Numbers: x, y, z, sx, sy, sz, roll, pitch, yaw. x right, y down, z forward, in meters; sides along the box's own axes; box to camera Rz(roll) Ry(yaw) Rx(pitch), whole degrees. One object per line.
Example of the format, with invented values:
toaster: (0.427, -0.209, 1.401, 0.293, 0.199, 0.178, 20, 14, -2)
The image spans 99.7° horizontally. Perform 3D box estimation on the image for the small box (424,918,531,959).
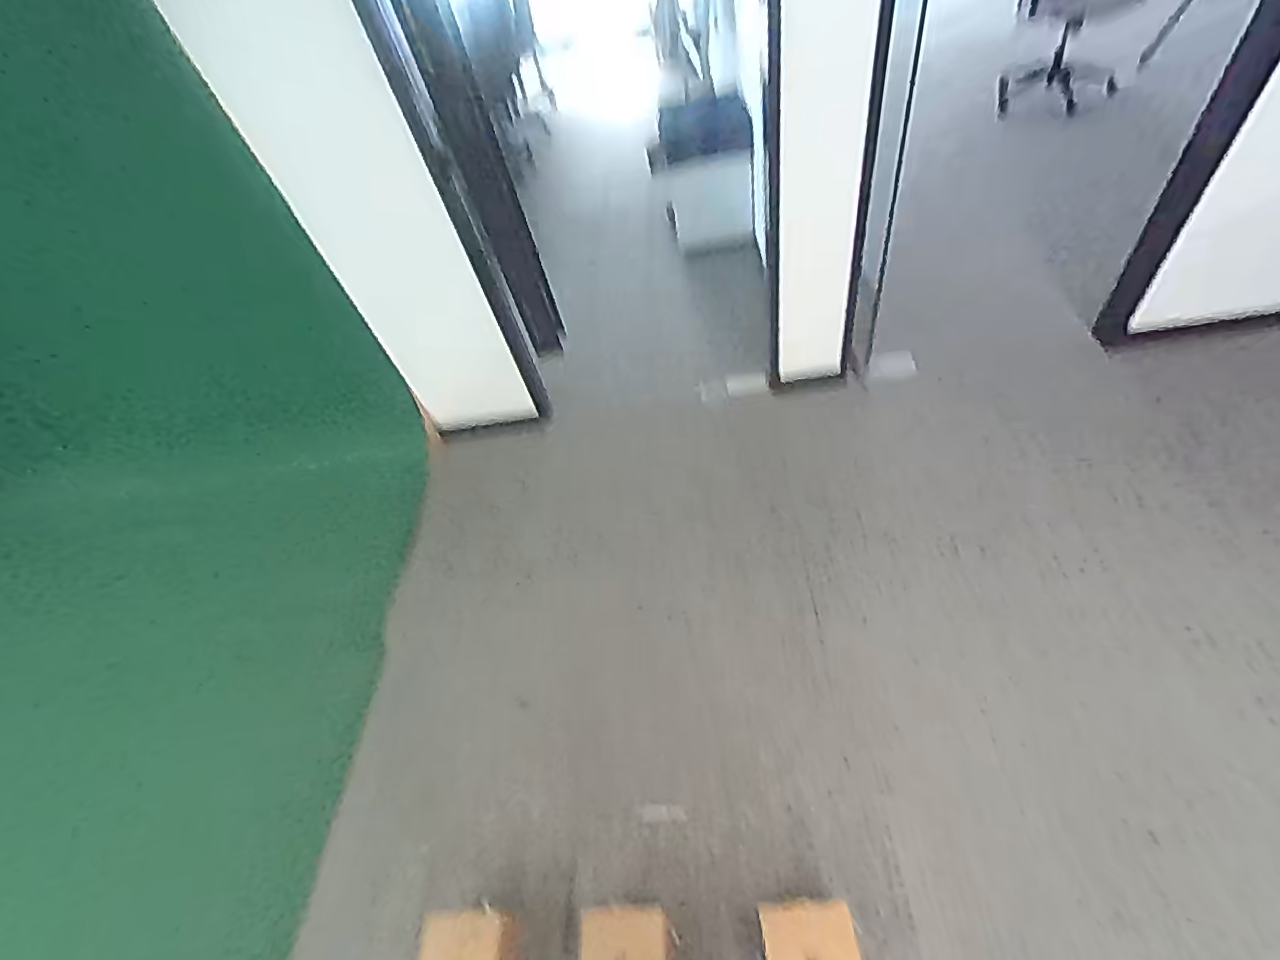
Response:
small box: (-0.334, 1.012, 1.106, 0.168, 0.176, 0.179, -7, 48, 8)

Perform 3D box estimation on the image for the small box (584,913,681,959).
small box: (-0.012, 0.968, 1.061, 0.168, 0.176, 0.179, -8, 49, 9)

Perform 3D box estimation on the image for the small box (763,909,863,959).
small box: (0.331, 0.921, 1.011, 0.168, 0.176, 0.179, -10, 48, 6)
